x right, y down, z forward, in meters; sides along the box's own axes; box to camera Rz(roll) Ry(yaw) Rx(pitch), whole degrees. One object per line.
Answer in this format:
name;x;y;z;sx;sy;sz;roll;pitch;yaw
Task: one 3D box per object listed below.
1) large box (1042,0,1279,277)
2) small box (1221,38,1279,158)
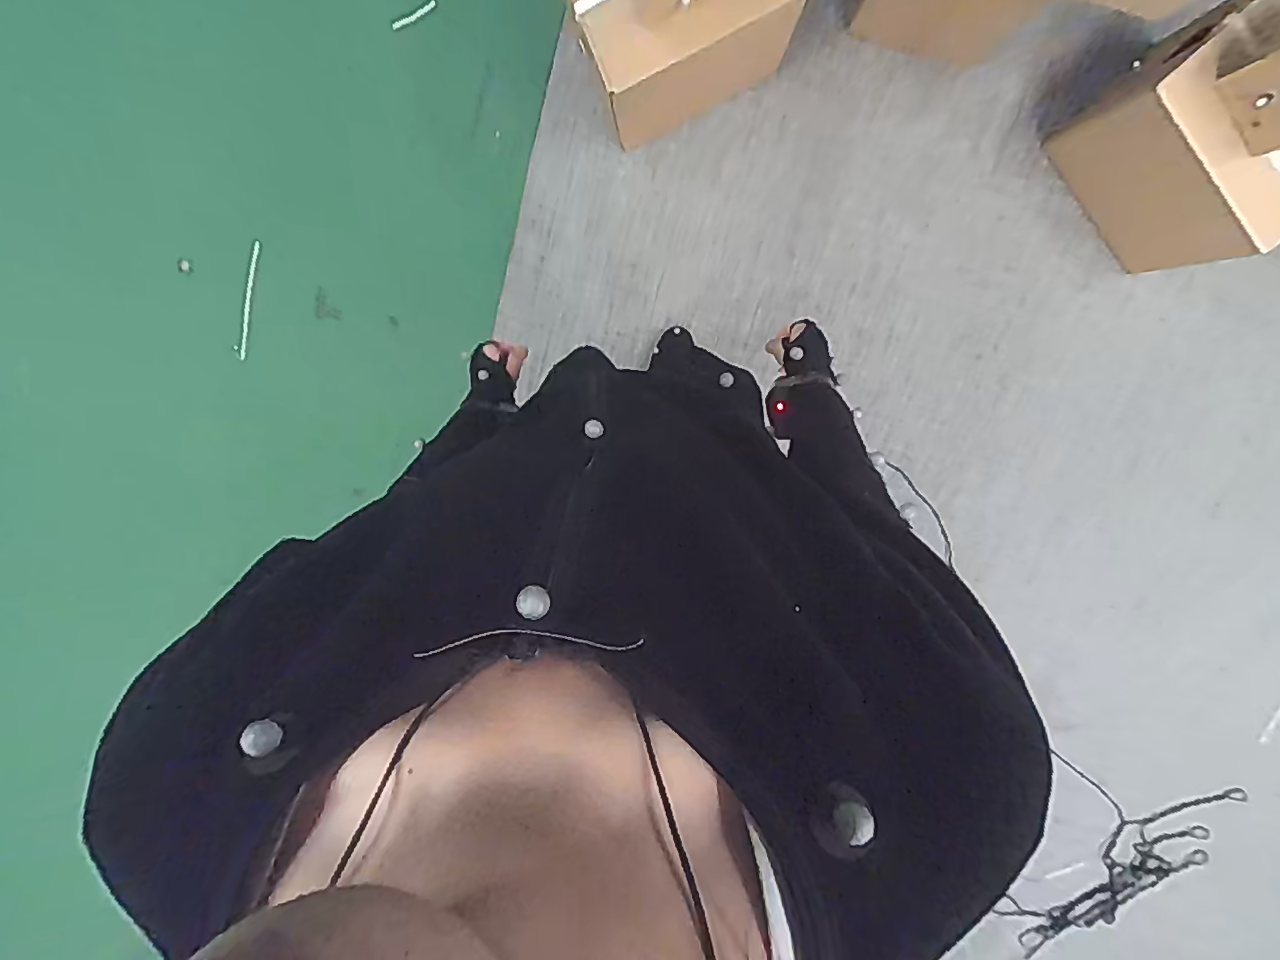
large box;1.189;-0.705;1.143;0.320;0.320;0.408;-42;100;11
small box;1.157;-0.686;0.898;0.179;0.176;0.168;-38;100;9
